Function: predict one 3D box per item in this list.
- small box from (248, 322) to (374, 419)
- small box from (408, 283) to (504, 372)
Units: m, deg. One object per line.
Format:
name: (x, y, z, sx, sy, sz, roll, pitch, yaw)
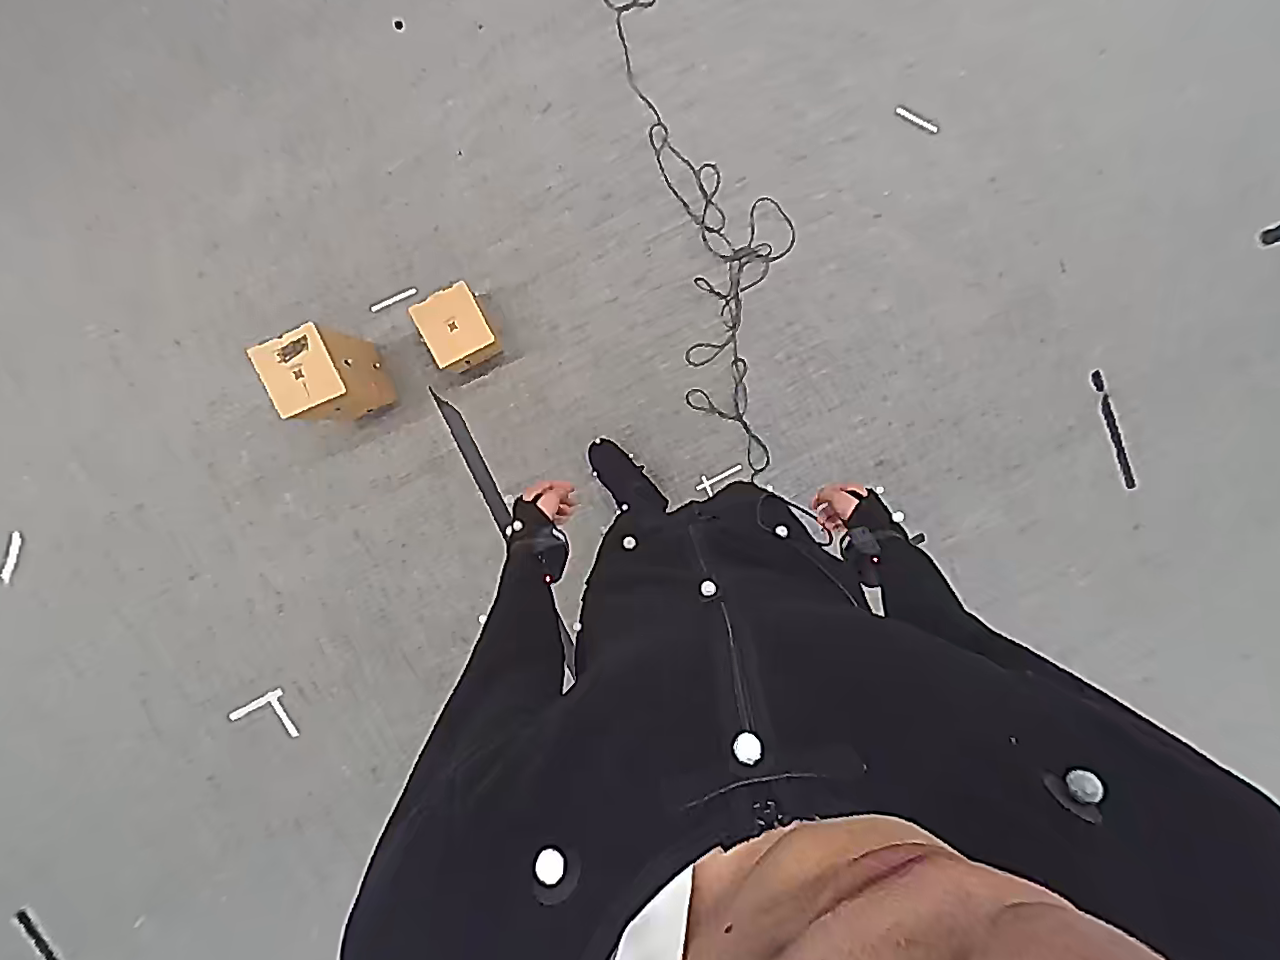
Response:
small box: (-0.784, -0.256, 1.310, 0.168, 0.176, 0.179, -23, 97, -1)
small box: (-0.493, -0.407, 1.482, 0.168, 0.176, 0.179, -28, 96, -1)
